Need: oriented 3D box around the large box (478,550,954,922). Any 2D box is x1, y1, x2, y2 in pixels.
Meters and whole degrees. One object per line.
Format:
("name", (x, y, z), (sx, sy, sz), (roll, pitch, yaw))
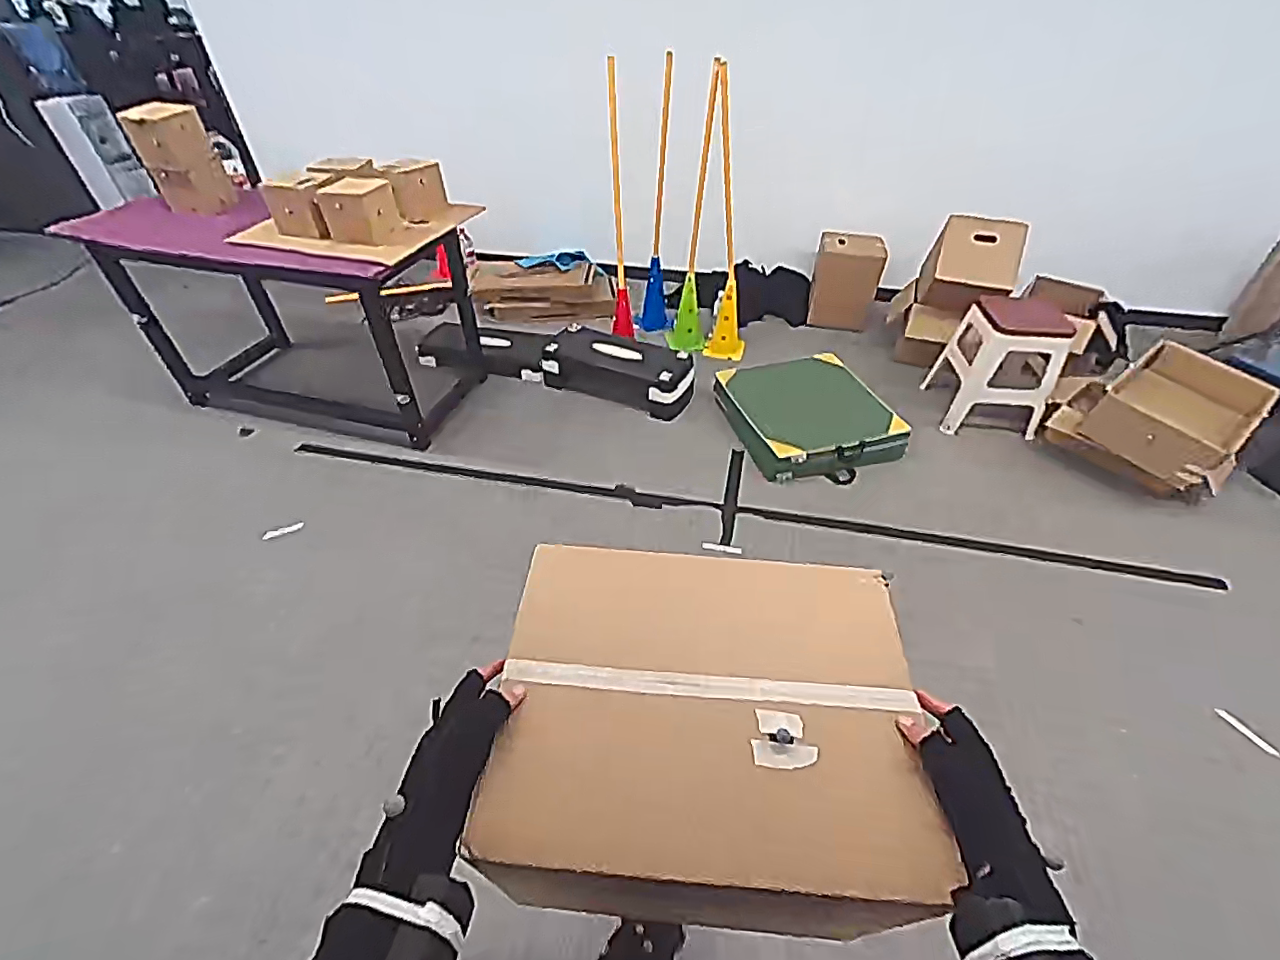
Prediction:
("large box", (0.064, 0.309, 0.652), (0.408, 0.320, 0.320), (5, 48, 2))
